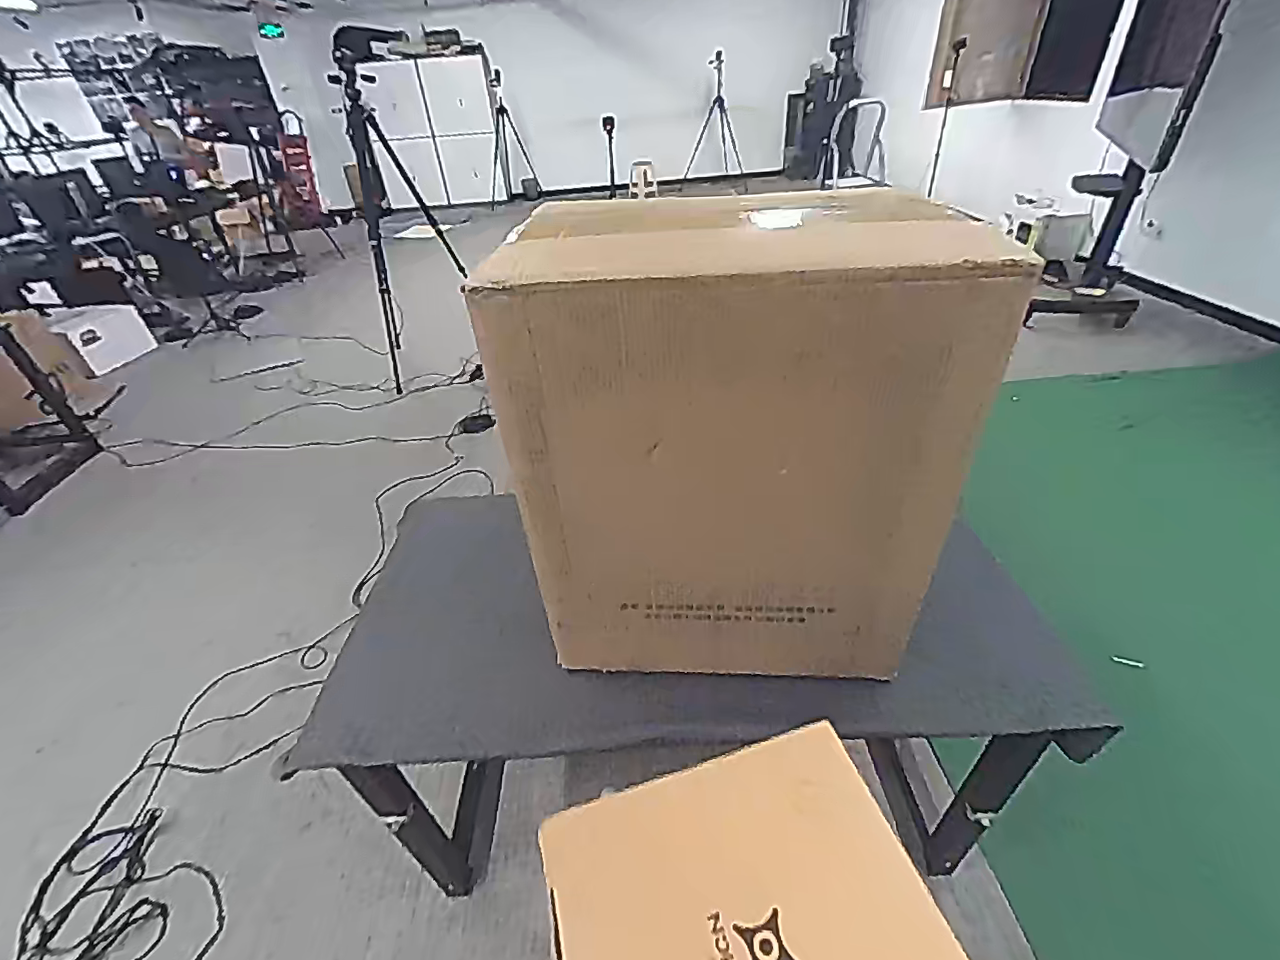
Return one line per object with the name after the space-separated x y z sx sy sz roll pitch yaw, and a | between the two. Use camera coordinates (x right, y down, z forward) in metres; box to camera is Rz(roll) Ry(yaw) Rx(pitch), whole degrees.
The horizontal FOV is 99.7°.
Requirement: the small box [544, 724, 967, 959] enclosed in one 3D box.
0.057 0.272 0.299 0.179 0.176 0.168 -14 42 -10 | small box
